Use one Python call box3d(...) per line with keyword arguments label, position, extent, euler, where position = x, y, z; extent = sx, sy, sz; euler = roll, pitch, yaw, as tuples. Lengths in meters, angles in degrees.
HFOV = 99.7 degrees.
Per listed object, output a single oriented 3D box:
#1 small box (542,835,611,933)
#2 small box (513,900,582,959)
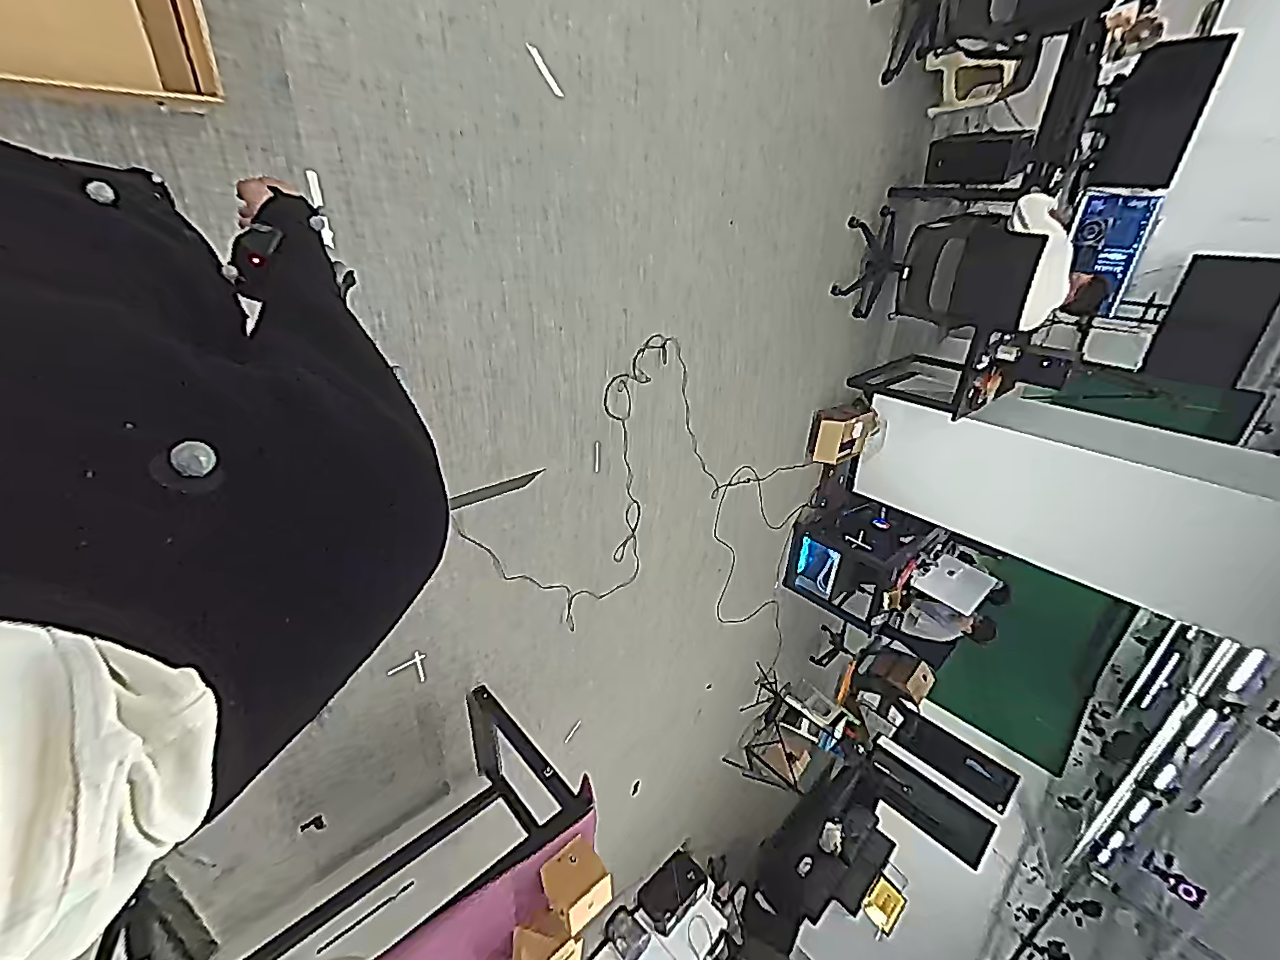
box3d(label="small box", position=(-0.213, 1.345, 1.813), extent=(0.168, 0.176, 0.179), euler=(-24, 127, -35))
box3d(label="small box", position=(-0.317, 1.584, 1.838), extent=(0.168, 0.176, 0.179), euler=(-14, 121, -42))
